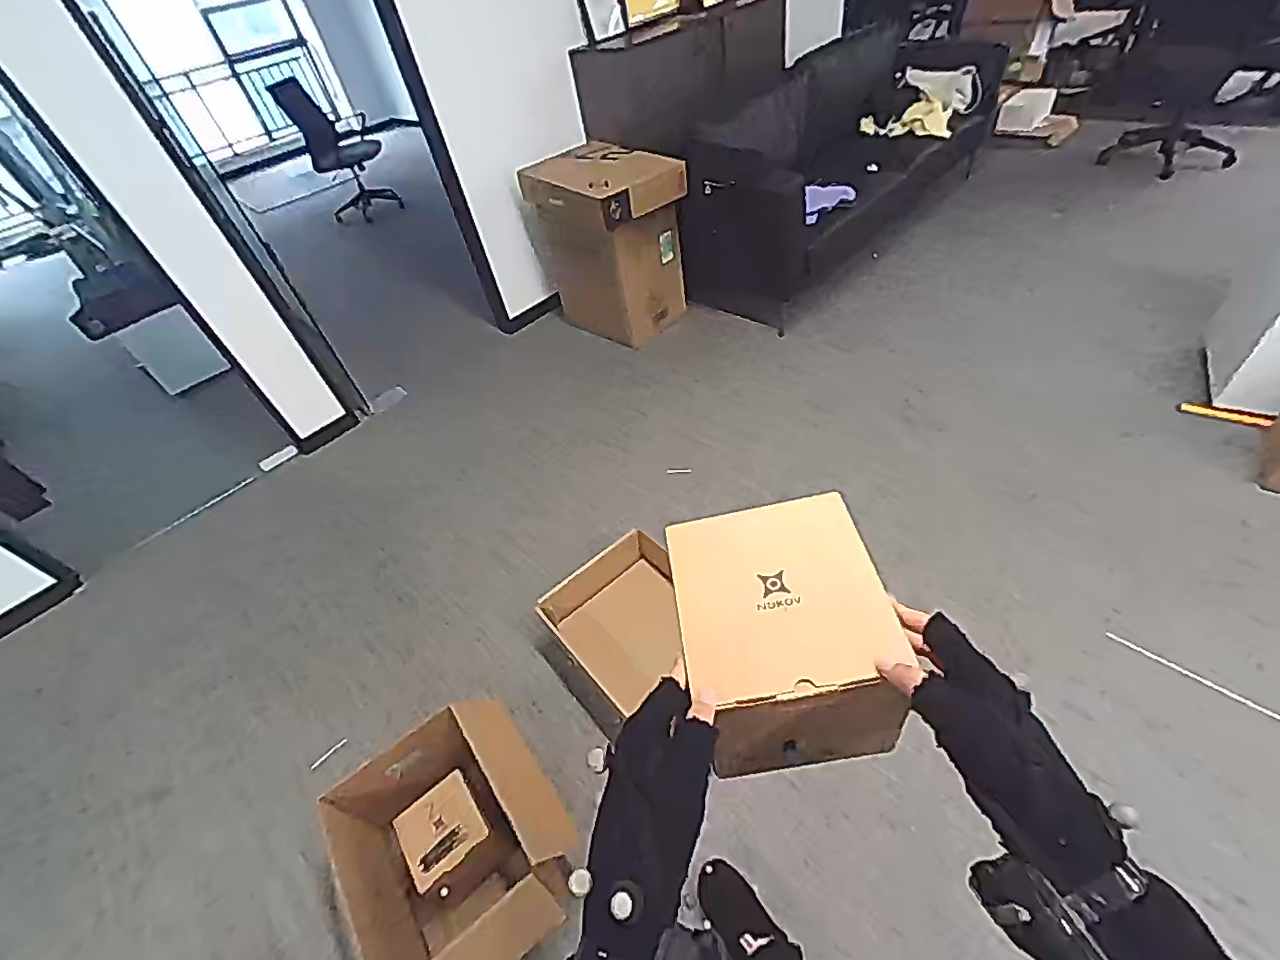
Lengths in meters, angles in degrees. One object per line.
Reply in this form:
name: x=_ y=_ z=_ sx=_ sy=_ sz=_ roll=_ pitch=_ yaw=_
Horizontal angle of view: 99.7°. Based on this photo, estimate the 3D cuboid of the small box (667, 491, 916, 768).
small box: x=0.127 y=0.141 z=0.505 sx=0.168 sy=0.176 sz=0.179 roll=-13 pitch=46 yaw=5
